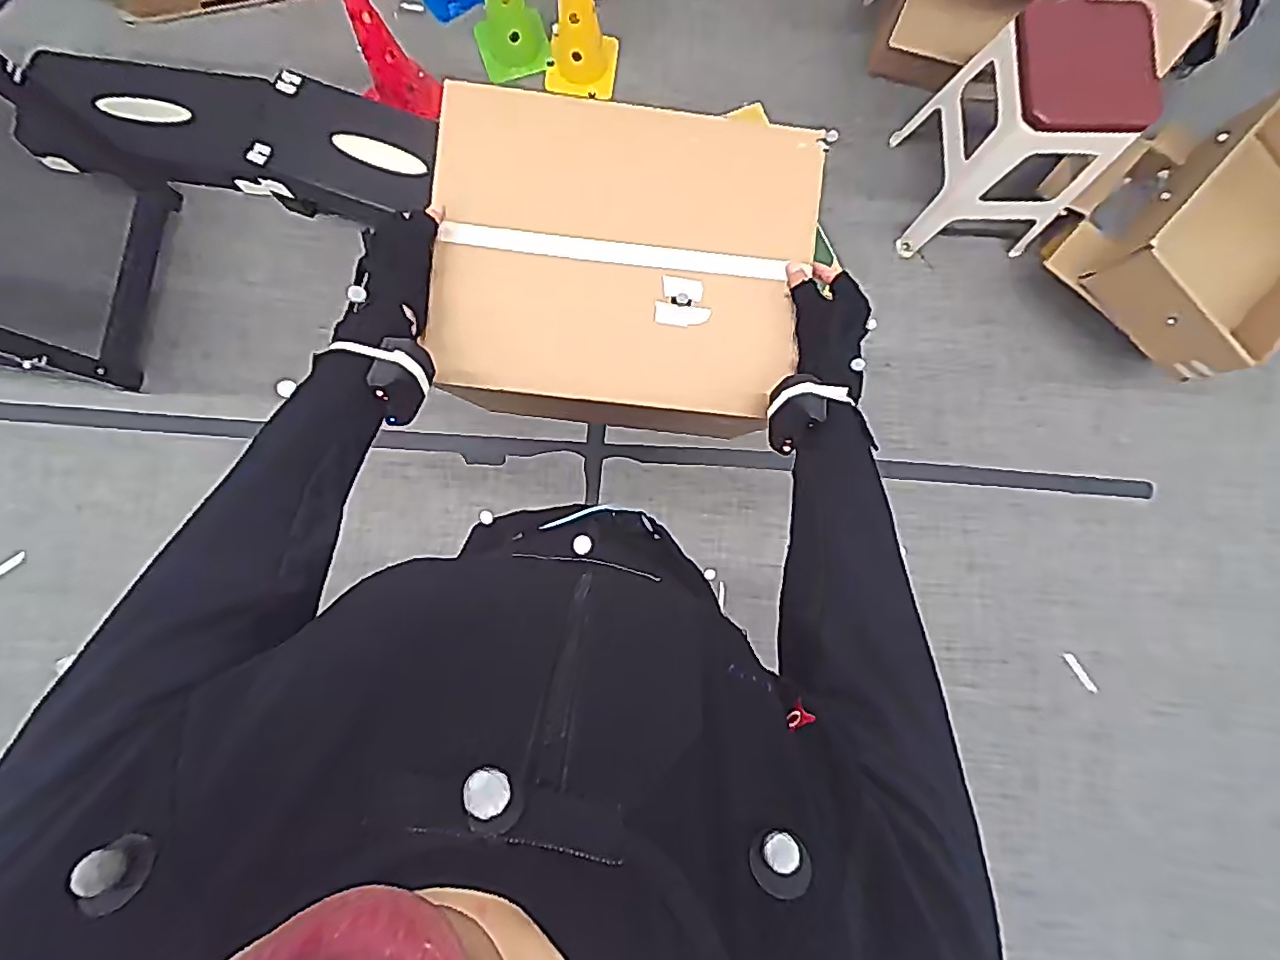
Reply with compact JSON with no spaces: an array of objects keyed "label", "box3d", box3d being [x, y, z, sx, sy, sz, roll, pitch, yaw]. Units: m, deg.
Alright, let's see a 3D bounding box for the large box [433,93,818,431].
[{"label":"large box","box3d":[-0.023,-0.246,0.733,0.408,0.320,0.320,6,91,-3]}]
